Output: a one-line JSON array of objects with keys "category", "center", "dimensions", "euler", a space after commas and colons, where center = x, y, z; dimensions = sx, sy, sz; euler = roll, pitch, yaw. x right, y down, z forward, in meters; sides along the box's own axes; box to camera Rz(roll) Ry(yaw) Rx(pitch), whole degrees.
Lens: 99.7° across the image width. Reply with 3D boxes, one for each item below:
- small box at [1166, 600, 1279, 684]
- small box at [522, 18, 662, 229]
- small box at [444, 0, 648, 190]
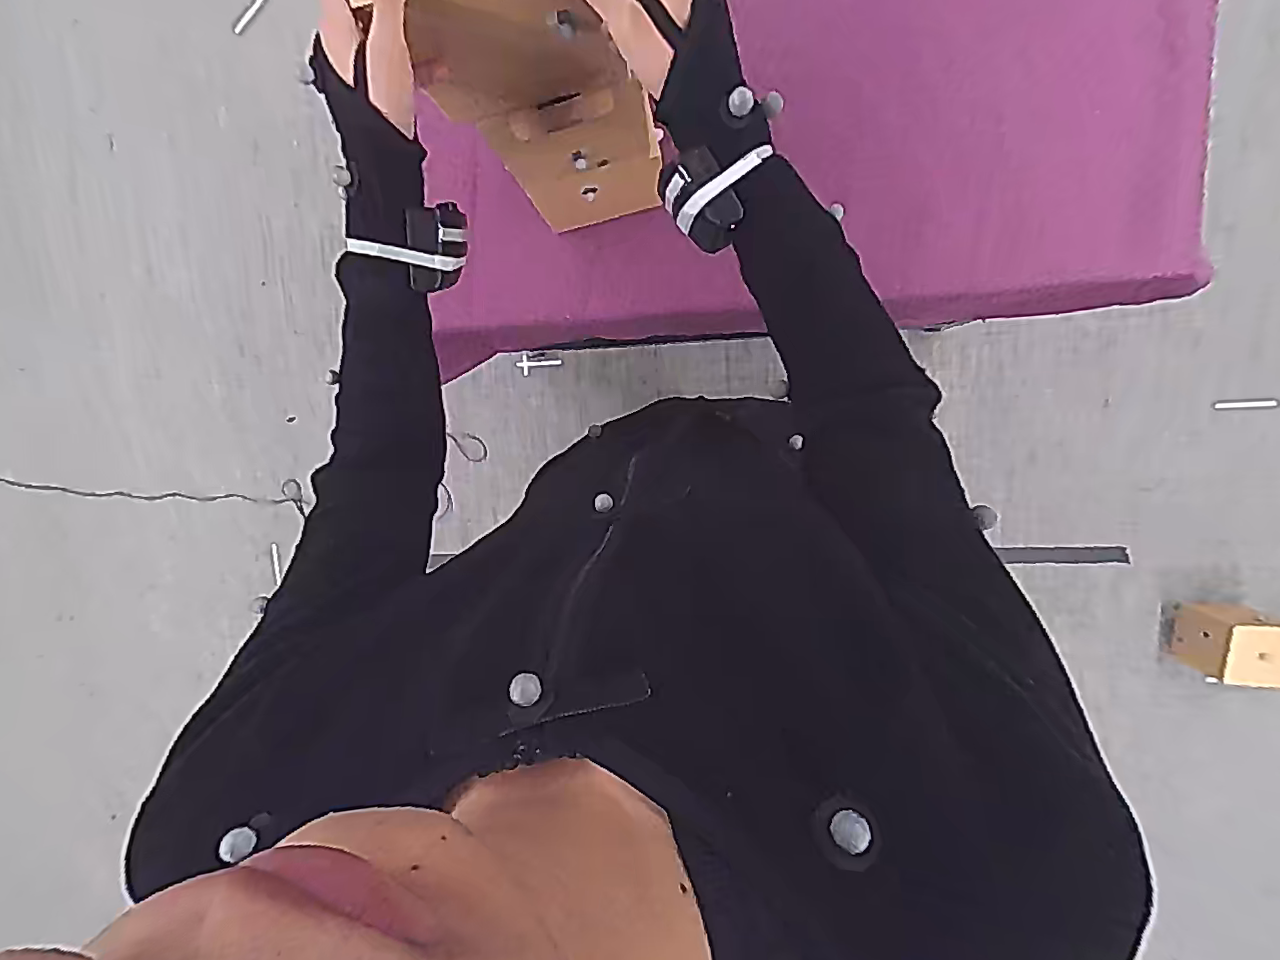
[{"category": "small box", "center": [1.618, 0.440, 1.489], "dimensions": [0.179, 0.176, 0.168], "euler": [2, 99, 4]}, {"category": "small box", "center": [-0.072, -0.467, 0.741], "dimensions": [0.179, 0.176, 0.168], "euler": [-13, 97, 5]}, {"category": "small box", "center": [-0.093, -0.449, 0.578], "dimensions": [0.168, 0.176, 0.179], "euler": [-14, 97, 6]}]
